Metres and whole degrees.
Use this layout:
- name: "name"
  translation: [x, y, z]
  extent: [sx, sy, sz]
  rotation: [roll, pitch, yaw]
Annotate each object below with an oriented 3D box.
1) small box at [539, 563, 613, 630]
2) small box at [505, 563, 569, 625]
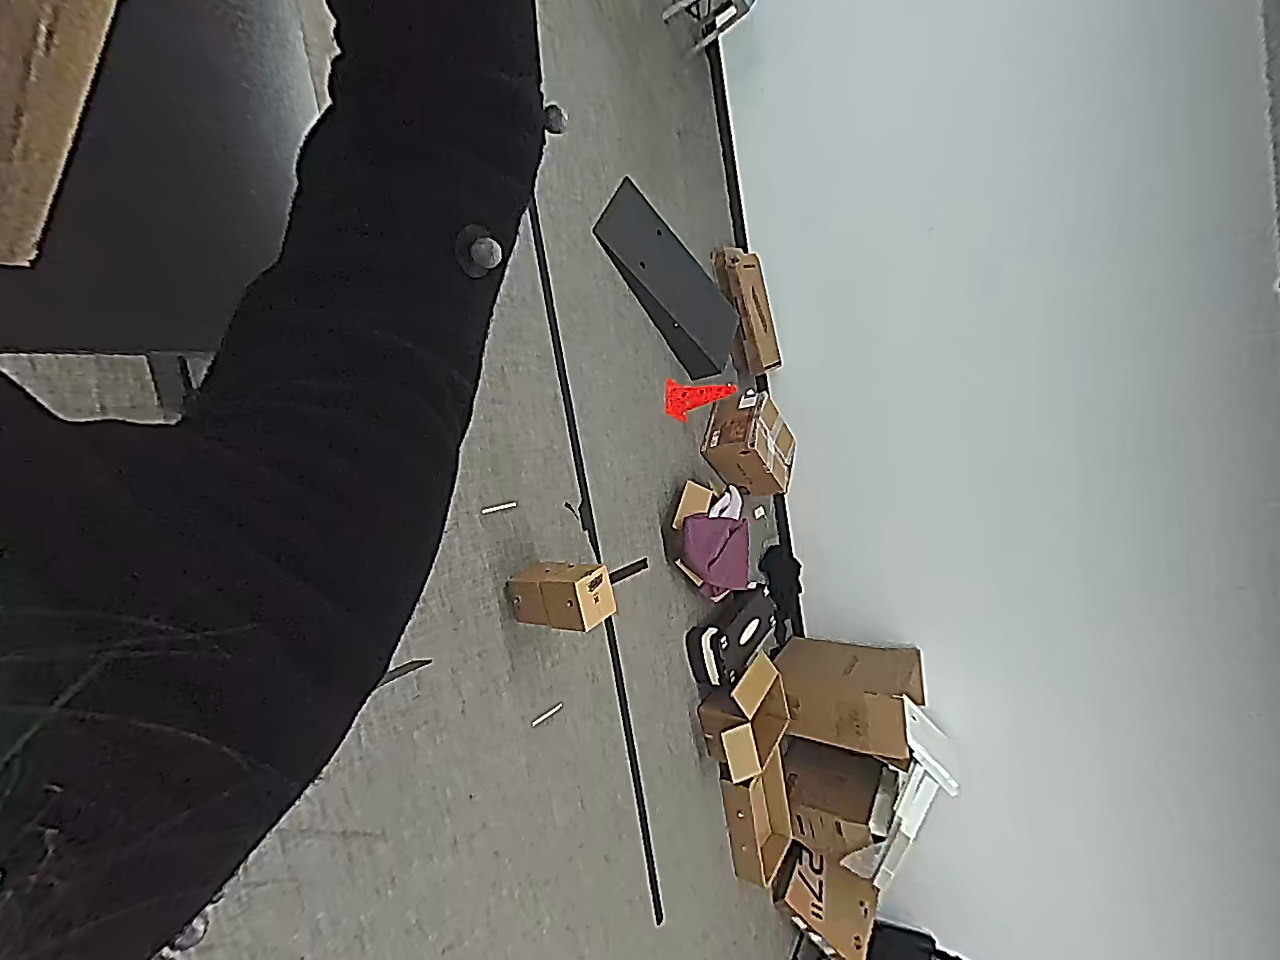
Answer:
- name: "small box"
  translation: [-0.221, 0.393, 1.846]
  extent: [0.168, 0.176, 0.179]
  rotation: [-23, 104, -52]
- name: "small box"
  translation: [-0.354, 0.402, 1.943]
  extent: [0.179, 0.176, 0.168]
  rotation: [-26, 105, -50]
